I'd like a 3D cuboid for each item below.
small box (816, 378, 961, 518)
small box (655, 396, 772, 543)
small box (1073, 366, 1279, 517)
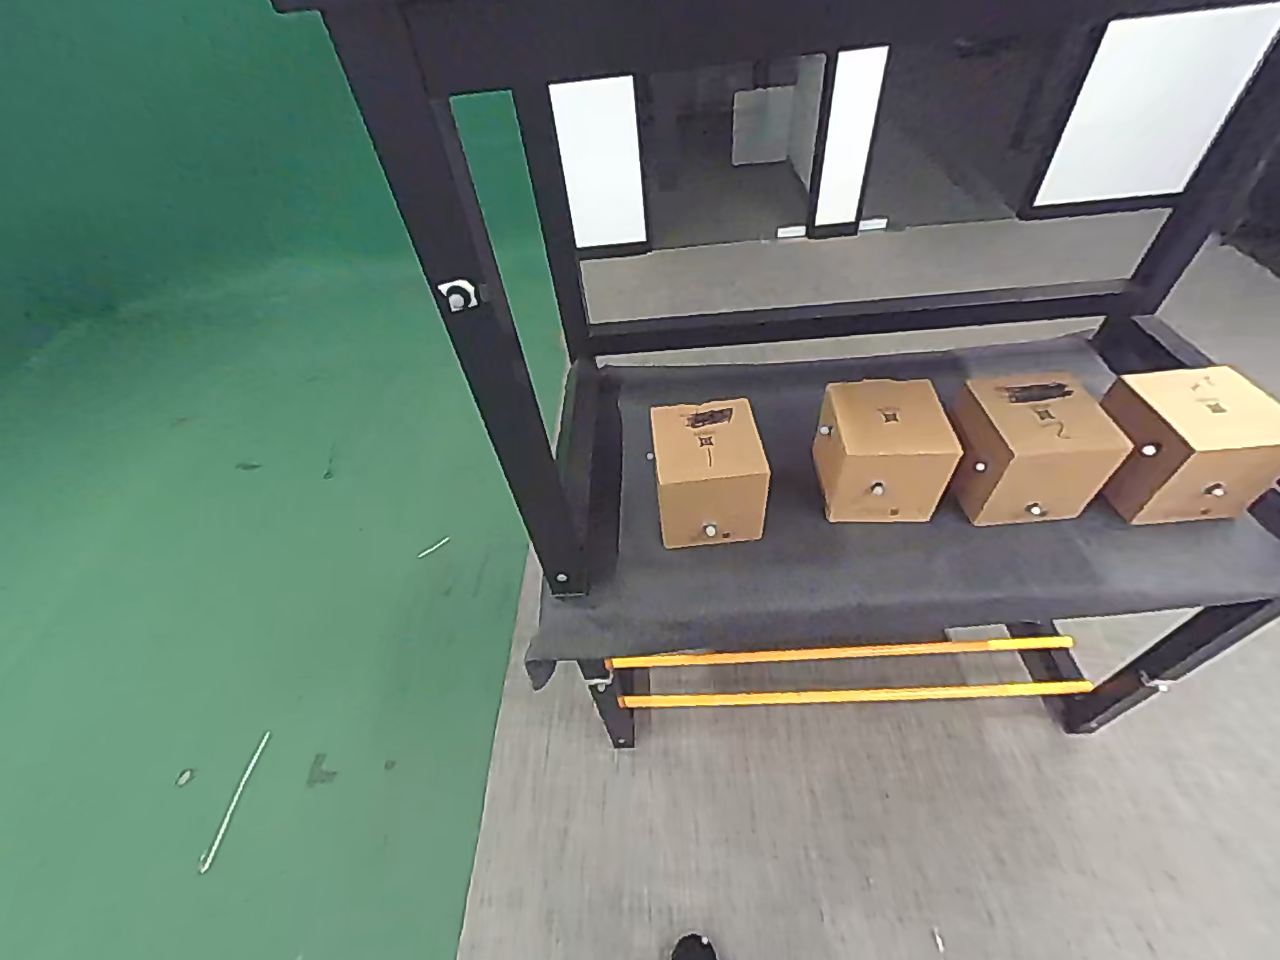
[{"bbox_3d":[0.401,-0.050,0.906,0.168,0.176,0.179,-1,48,6],"label":"small box"},{"bbox_3d":[0.114,-0.016,0.906,0.168,0.176,0.179,-6,49,1],"label":"small box"},{"bbox_3d":[0.846,-0.054,0.852,0.168,0.176,0.179,-4,47,3],"label":"small box"}]
